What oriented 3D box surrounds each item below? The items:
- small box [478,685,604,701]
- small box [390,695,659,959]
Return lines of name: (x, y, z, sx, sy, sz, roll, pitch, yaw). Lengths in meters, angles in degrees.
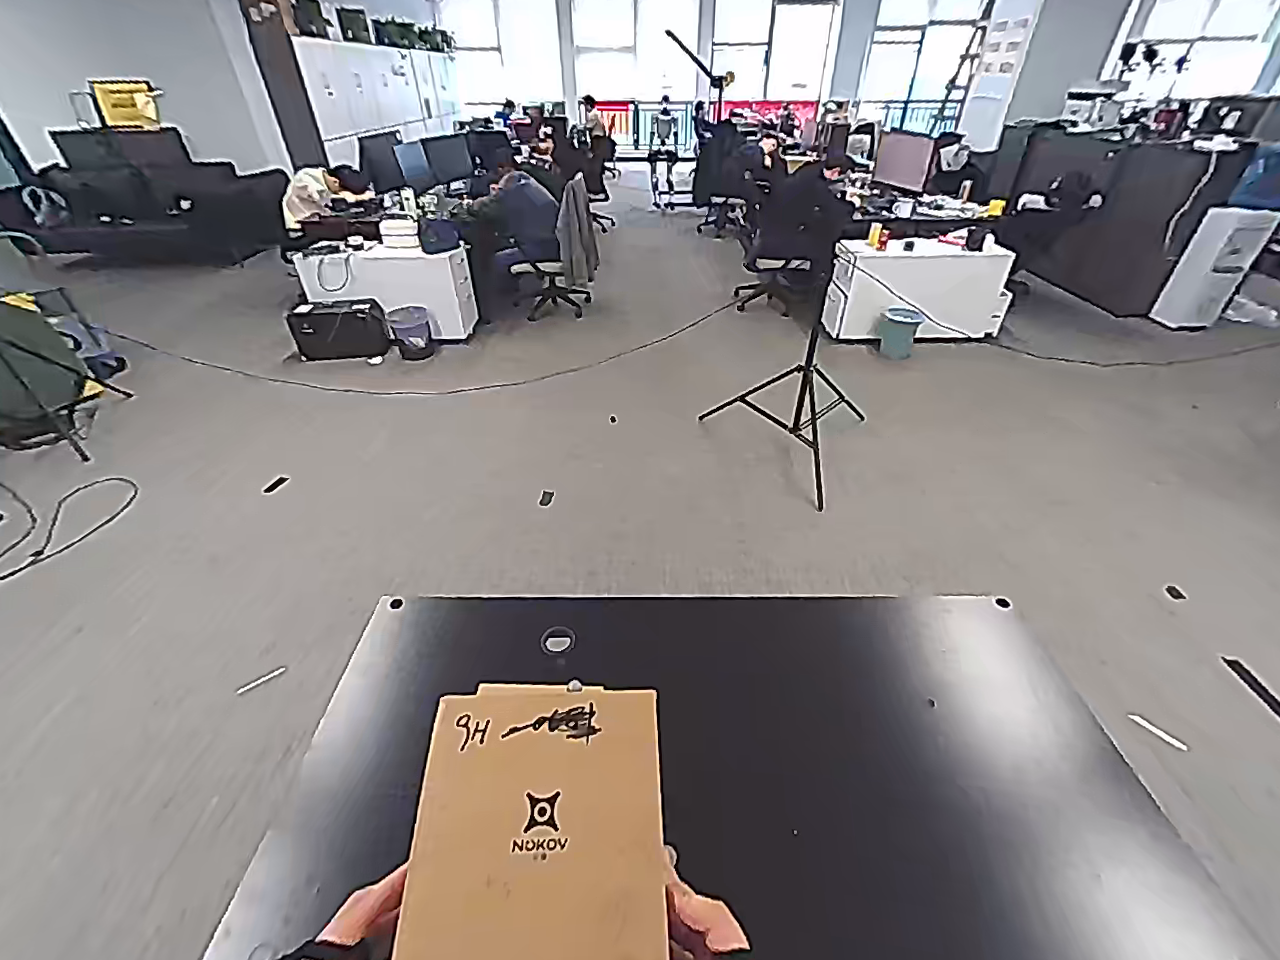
small box: (-0.131, 0.389, 0.691, 0.168, 0.176, 0.179, 0, 36, 2)
small box: (-0.071, 0.283, 0.425, 0.168, 0.176, 0.179, -1, 53, -2)
